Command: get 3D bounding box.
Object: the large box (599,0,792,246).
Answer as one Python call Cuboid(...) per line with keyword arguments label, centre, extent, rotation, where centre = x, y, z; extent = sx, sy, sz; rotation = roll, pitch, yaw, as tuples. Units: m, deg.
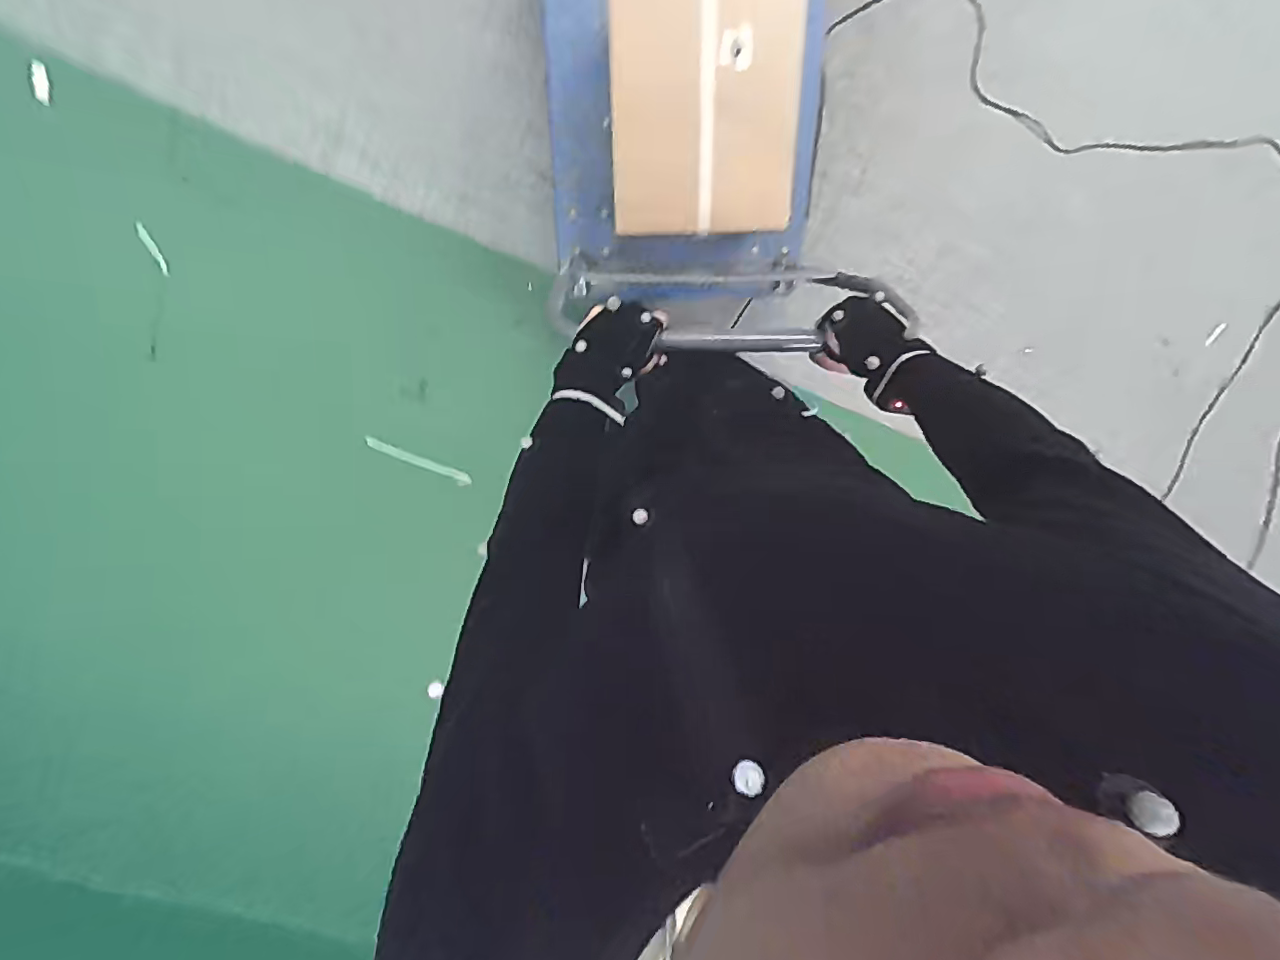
Cuboid(label="large box", centre=(0.092, -0.682, 1.050), extent=(0.320, 0.320, 0.408), rotation=(-2, 113, -2))
